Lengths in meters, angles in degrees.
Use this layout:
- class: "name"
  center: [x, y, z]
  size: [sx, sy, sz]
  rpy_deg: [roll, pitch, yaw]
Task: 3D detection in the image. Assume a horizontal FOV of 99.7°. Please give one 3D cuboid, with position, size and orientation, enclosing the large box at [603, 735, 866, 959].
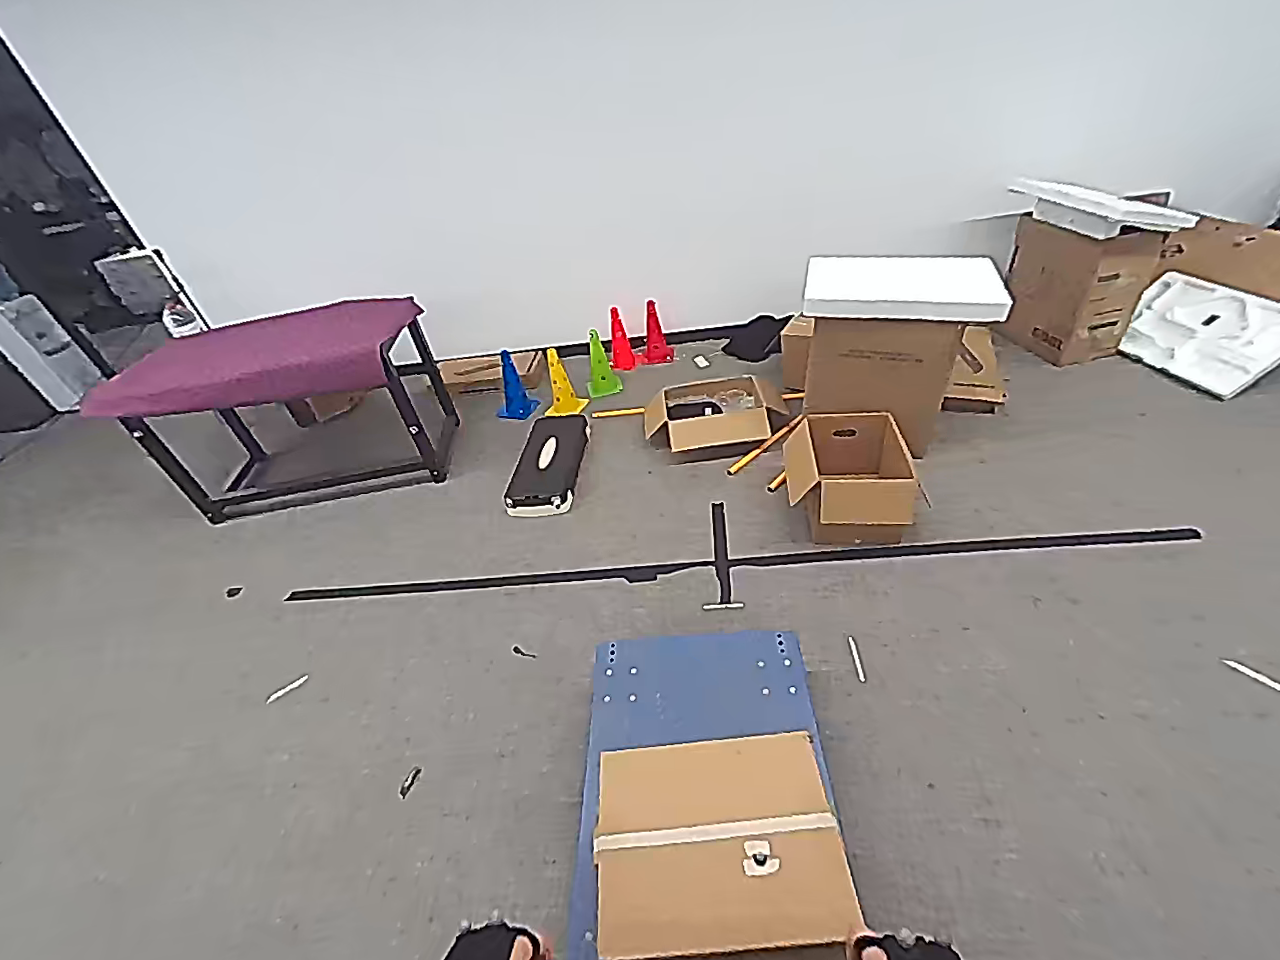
- class: "large box"
  center: [0.149, 0.725, 1.015]
  size: [0.408, 0.320, 0.320]
  rpy_deg: [-7, 39, 2]
